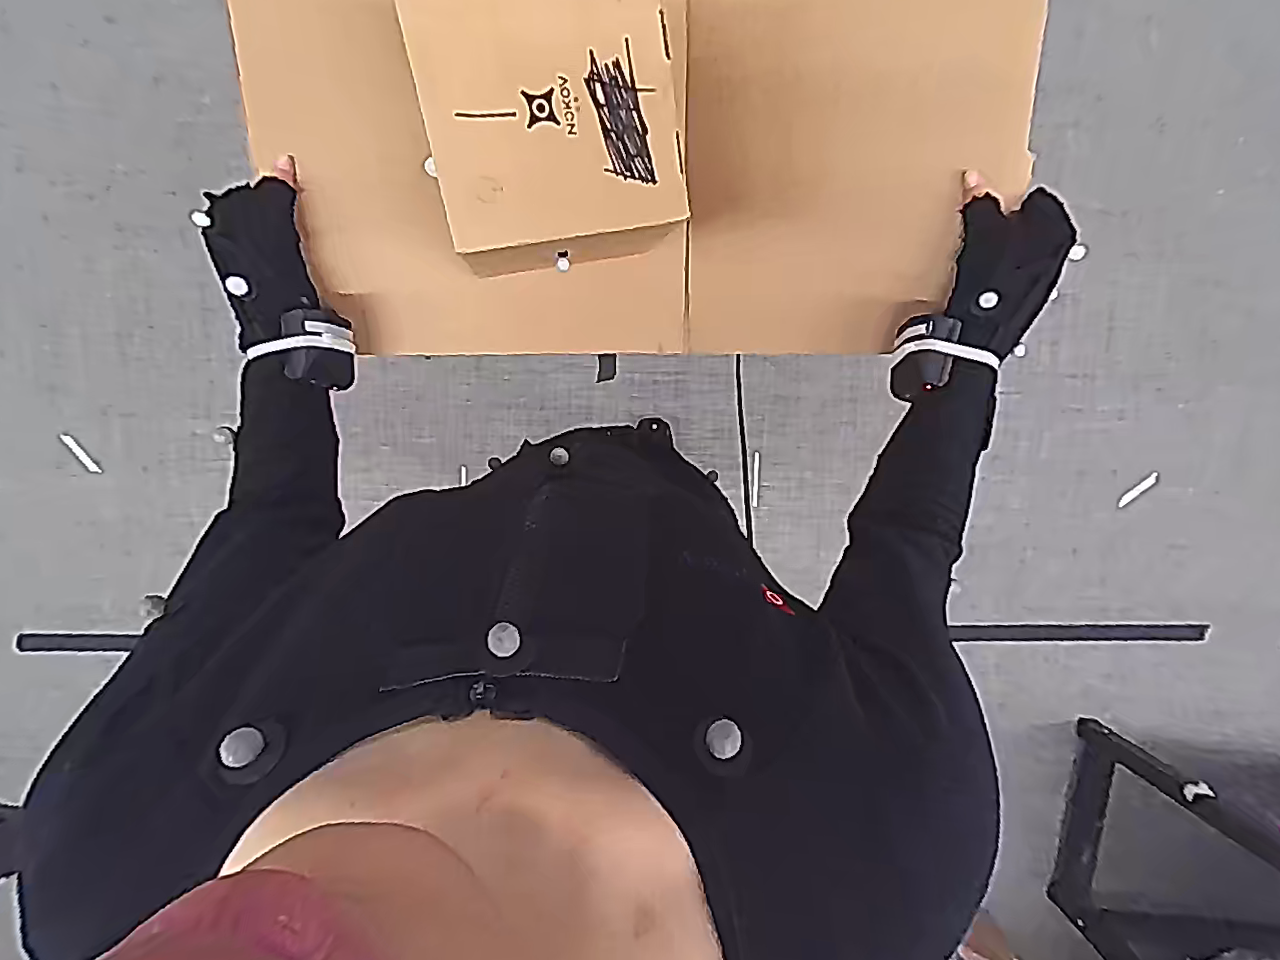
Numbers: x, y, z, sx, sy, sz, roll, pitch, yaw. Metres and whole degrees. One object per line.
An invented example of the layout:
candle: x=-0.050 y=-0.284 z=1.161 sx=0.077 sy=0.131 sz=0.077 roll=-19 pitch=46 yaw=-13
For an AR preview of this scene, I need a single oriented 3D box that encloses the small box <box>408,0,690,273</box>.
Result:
small box: x=-0.072 y=-0.279 z=0.458 sx=0.179 sy=0.176 sz=0.168 roll=-12 pitch=106 yaw=-8
